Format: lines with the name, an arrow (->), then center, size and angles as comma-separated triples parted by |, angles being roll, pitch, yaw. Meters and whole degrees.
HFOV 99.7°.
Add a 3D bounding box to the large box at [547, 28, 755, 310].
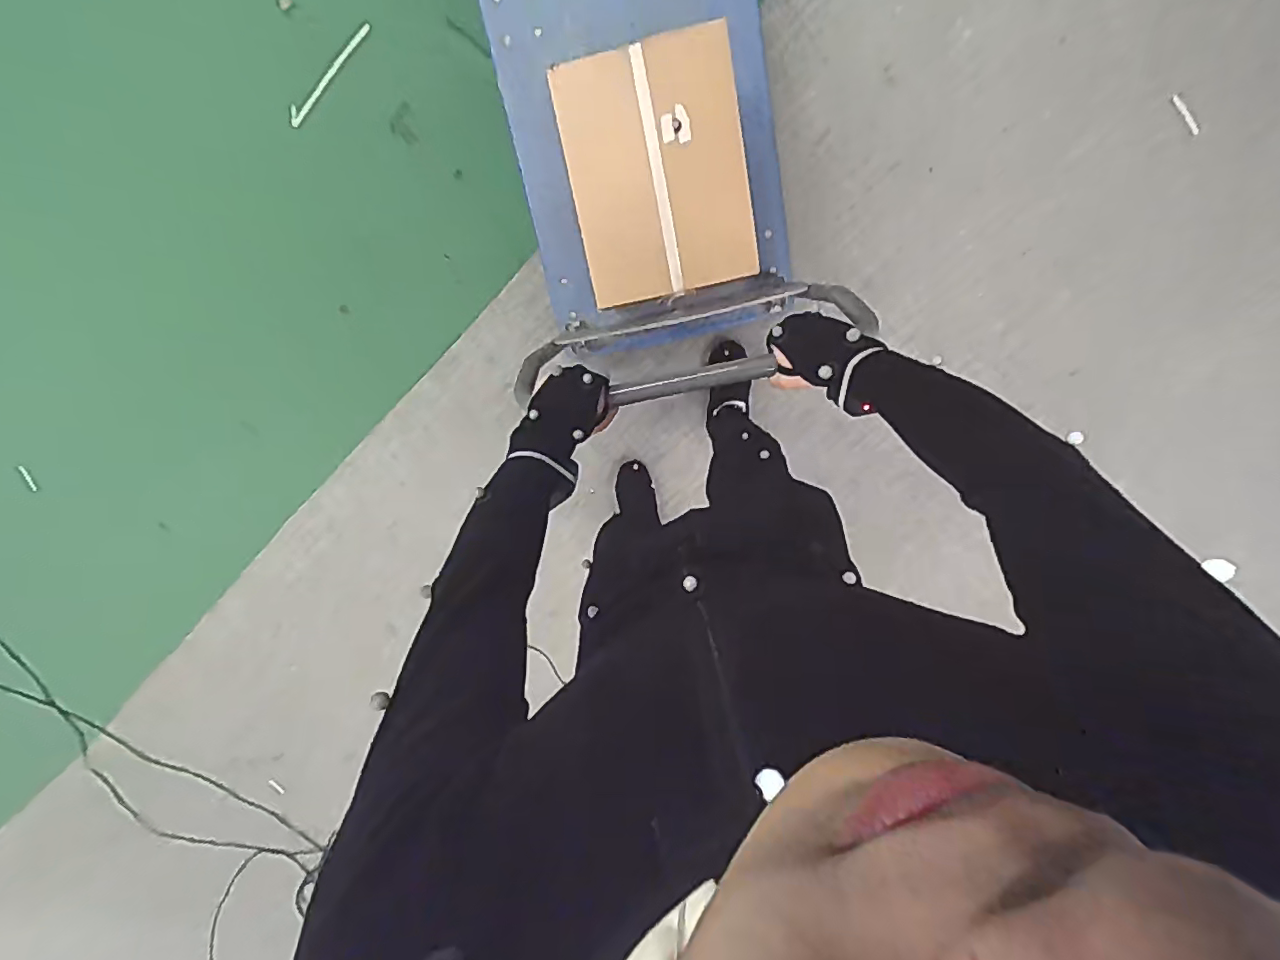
large box -> 0.038, -0.590, 1.121 | 0.320, 0.320, 0.408 | -10, 106, 6
